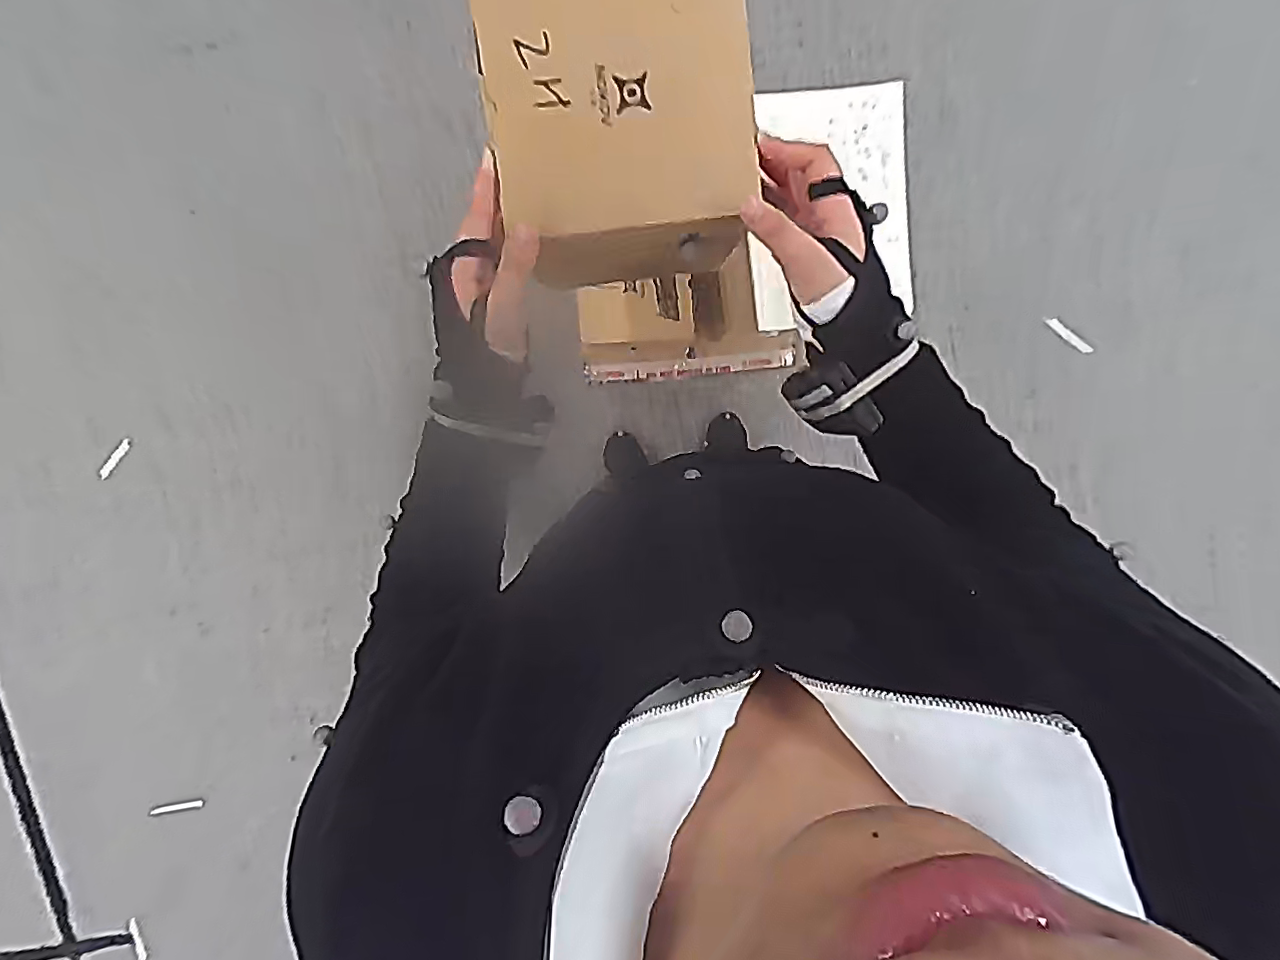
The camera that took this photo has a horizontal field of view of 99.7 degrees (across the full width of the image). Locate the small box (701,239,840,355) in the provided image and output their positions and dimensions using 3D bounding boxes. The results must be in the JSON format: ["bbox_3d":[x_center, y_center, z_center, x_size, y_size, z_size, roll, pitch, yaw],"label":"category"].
[{"bbox_3d":[0.212,-0.315,0.913,0.179,0.176,0.168,-11,97,-1],"label":"small box"}]

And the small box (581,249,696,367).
[{"bbox_3d":[-0.002,-0.281,0.912,0.179,0.176,0.168,-2,98,1],"label":"small box"}]

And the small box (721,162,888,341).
[{"bbox_3d":[0.216,-0.304,0.751,0.168,0.176,0.179,-9,97,-2],"label":"small box"}]
